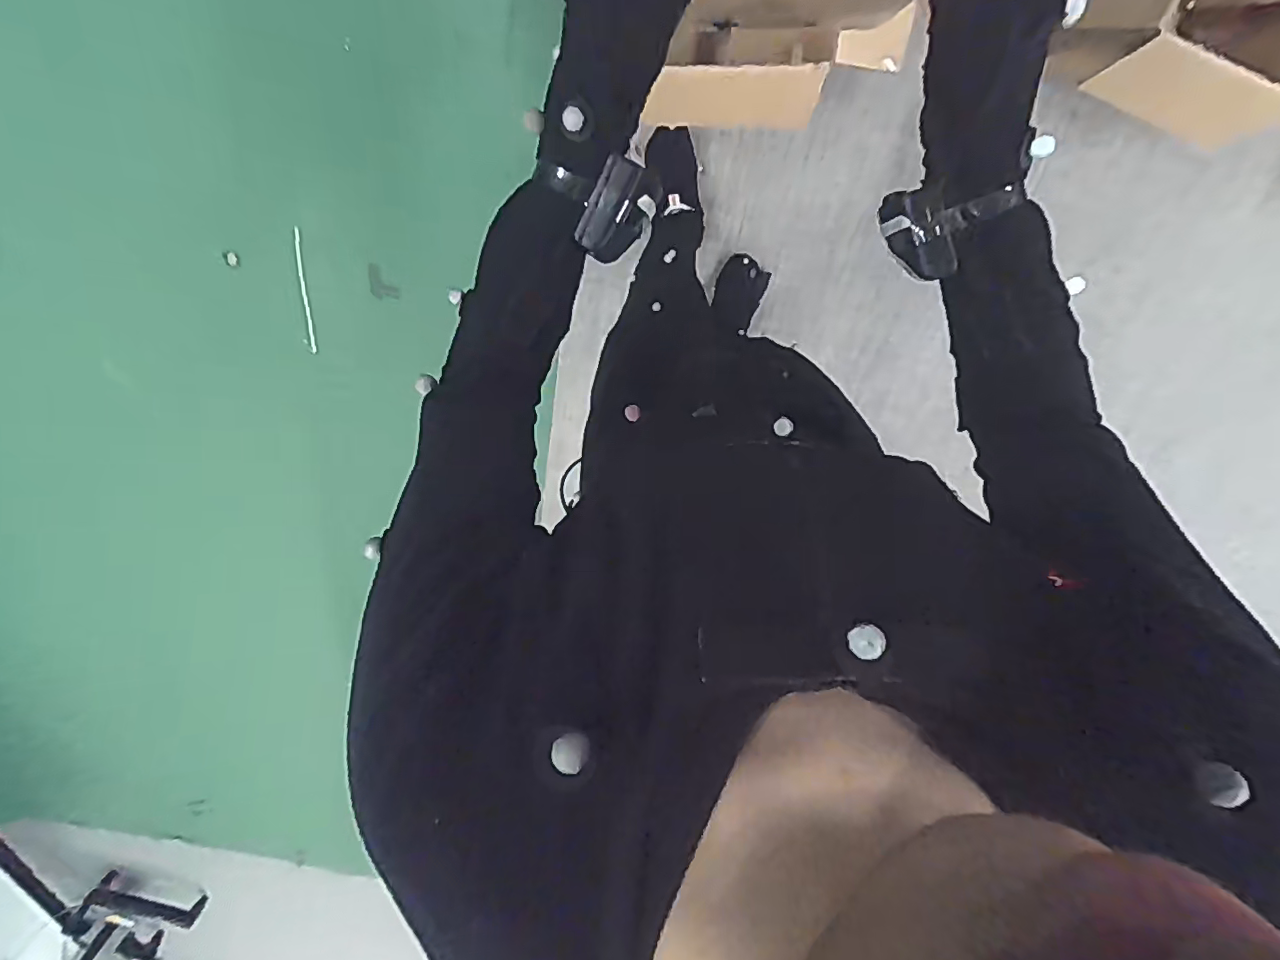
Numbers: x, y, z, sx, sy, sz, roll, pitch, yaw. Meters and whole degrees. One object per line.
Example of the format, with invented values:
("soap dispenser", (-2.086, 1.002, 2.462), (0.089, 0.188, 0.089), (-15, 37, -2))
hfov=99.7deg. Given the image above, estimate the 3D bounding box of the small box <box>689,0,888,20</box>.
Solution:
("small box", (0.113, -0.428, 0.353), (0.168, 0.176, 0.179), (3, 119, 4))
